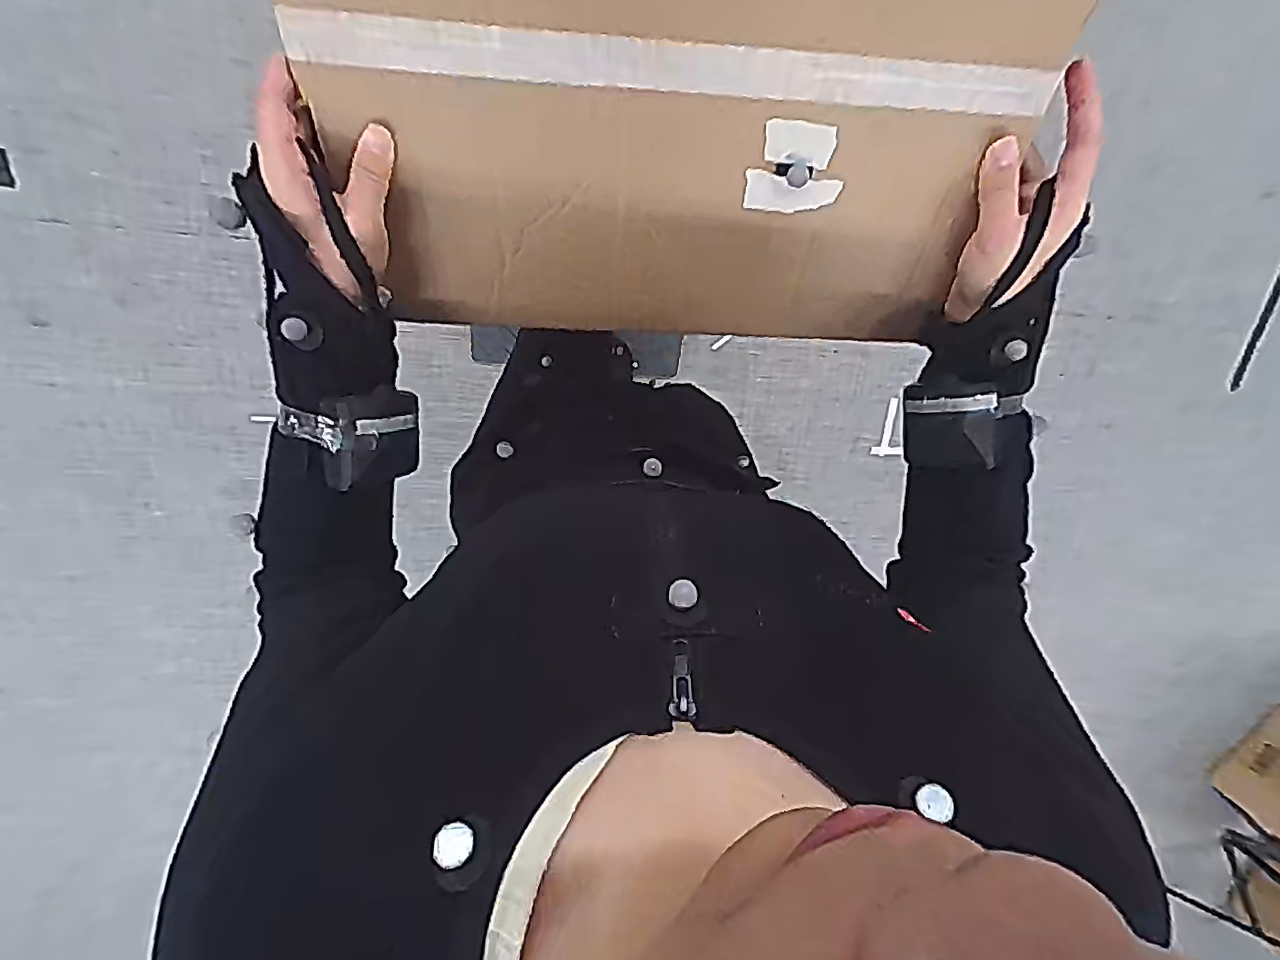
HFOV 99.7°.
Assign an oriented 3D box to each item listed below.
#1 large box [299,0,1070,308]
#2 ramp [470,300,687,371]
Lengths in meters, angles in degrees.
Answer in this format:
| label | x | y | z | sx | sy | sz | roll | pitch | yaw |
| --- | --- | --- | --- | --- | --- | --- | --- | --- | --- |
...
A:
| label | x | y | z | sx | sy | sz | roll | pitch | yaw |
| --- | --- | --- | --- | --- | --- | --- | --- | --- | --- |
| large box | 0.016 | -0.341 | 0.391 | 0.408 | 0.320 | 0.320 | 0 | 135 | -5 |
| ramp | -0.094 | -0.705 | 1.050 | 0.509 | 0.206 | 0.991 | 1 | 111 | -8 |
